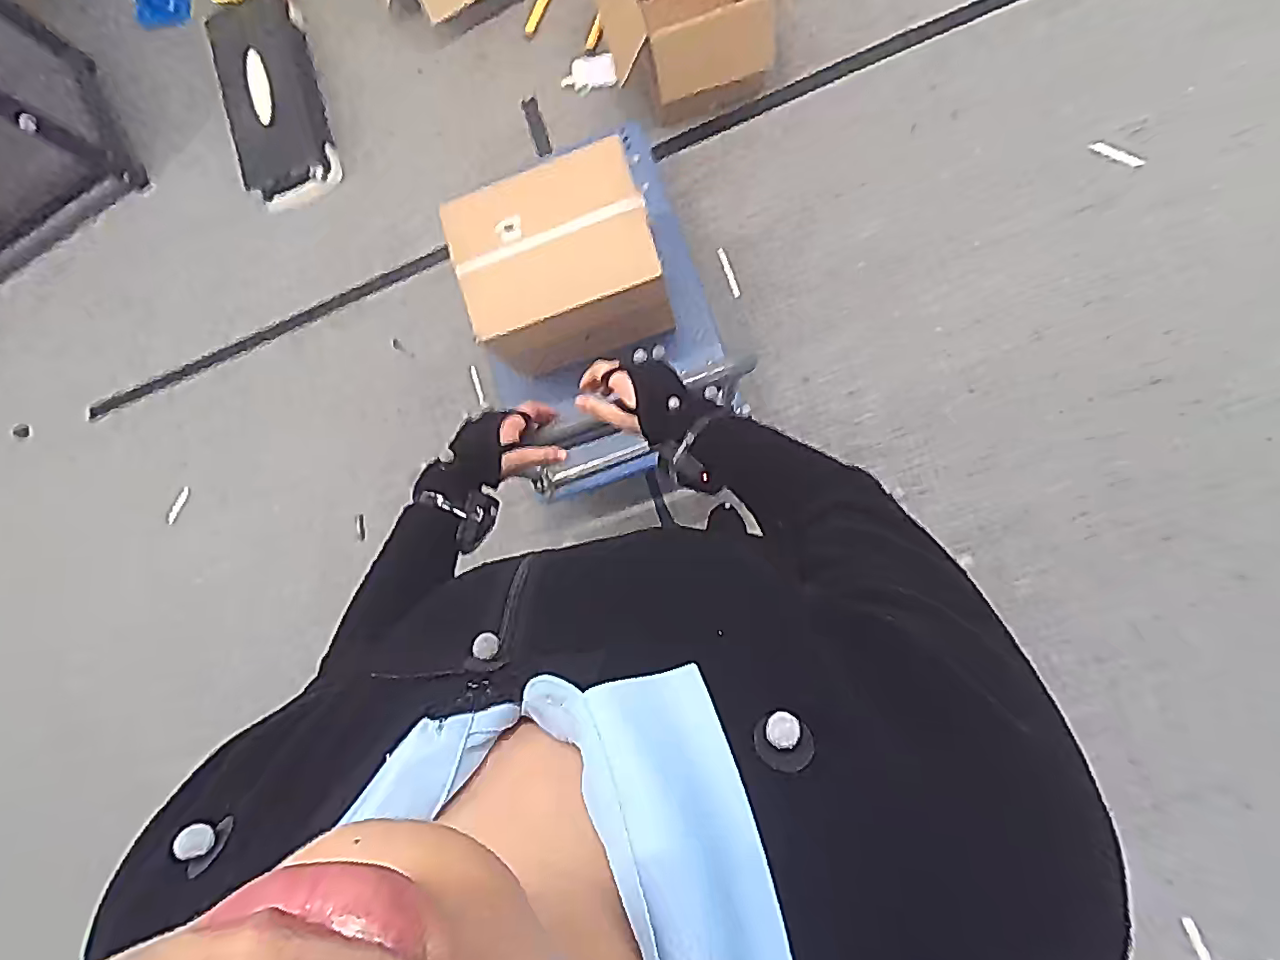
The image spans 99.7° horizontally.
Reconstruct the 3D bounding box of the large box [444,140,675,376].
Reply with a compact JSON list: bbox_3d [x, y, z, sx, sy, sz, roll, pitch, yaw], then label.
[{"bbox_3d":[-0.163,-0.480,1.254,0.408,0.320,0.320,-18,83,8],"label":"large box"}]
